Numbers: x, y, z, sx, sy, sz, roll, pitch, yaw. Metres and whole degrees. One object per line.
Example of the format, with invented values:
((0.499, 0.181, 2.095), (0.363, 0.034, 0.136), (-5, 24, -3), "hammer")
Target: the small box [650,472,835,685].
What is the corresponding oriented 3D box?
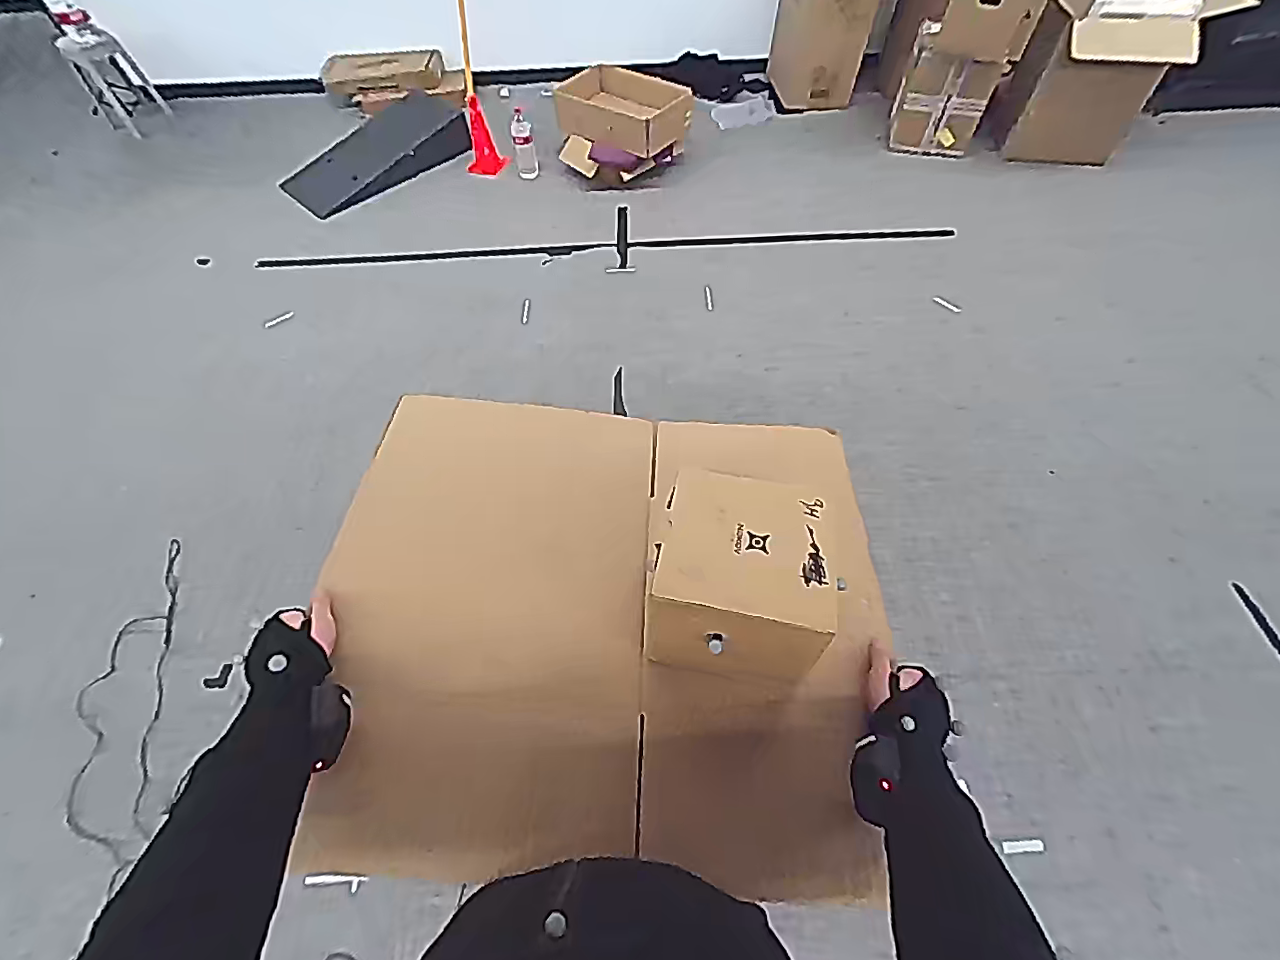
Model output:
((0.113, 0.115, 0.617), (0.179, 0.176, 0.168), (9, 53, 8), "small box")
